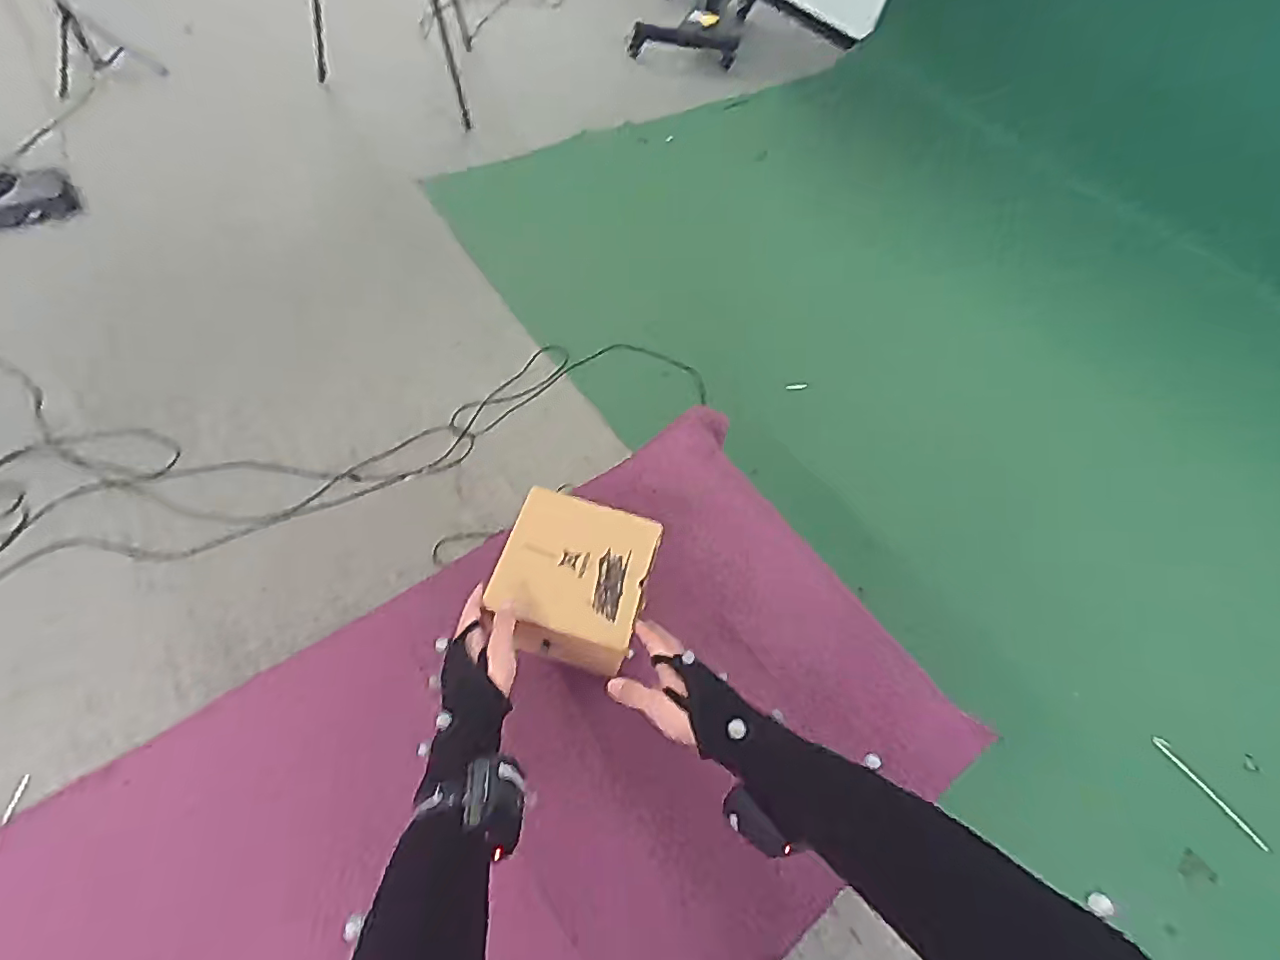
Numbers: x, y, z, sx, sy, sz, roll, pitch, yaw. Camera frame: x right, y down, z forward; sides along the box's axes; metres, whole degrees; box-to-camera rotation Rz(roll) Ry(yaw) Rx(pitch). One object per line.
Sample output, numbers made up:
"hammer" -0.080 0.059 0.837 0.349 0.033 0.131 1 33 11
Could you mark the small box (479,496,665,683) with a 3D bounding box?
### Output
"small box" -0.082 0.150 0.700 0.179 0.176 0.168 17 59 3
